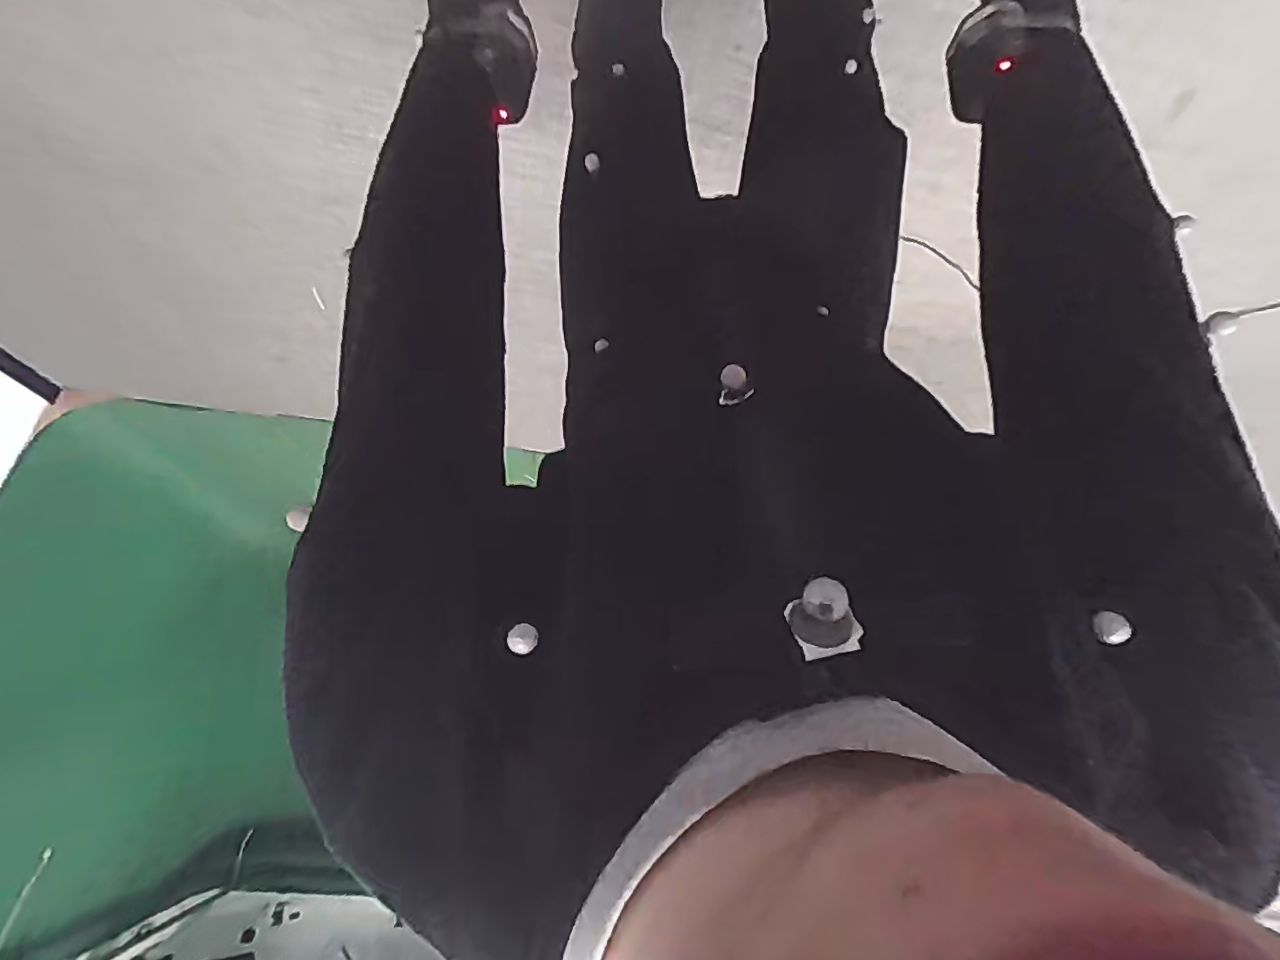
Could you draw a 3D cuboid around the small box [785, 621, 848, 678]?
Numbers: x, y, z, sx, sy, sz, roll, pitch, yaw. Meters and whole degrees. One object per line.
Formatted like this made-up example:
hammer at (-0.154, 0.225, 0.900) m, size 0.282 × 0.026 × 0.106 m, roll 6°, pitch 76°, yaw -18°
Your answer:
small box at (0.637, 0.620, 1.975) m, size 0.168 × 0.176 × 0.179 m, roll 9°, pitch 155°, yaw -4°
